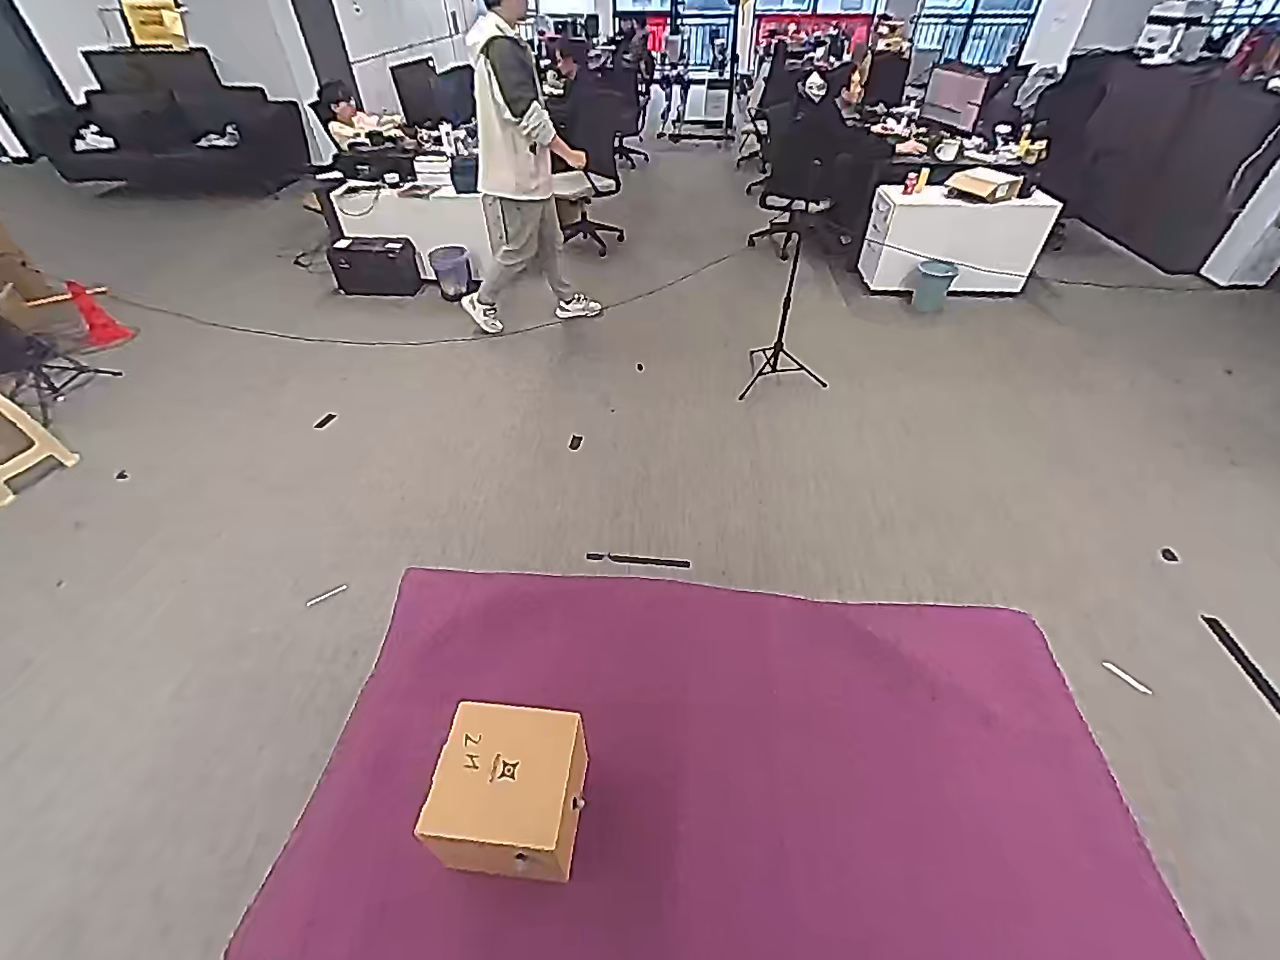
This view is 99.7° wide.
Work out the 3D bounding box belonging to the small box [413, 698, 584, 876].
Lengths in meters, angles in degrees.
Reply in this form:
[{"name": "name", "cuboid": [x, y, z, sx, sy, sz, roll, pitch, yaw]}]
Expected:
[{"name": "small box", "cuboid": [-0.178, 0.429, 0.752, 0.179, 0.176, 0.168, 5, 43, 5]}]
